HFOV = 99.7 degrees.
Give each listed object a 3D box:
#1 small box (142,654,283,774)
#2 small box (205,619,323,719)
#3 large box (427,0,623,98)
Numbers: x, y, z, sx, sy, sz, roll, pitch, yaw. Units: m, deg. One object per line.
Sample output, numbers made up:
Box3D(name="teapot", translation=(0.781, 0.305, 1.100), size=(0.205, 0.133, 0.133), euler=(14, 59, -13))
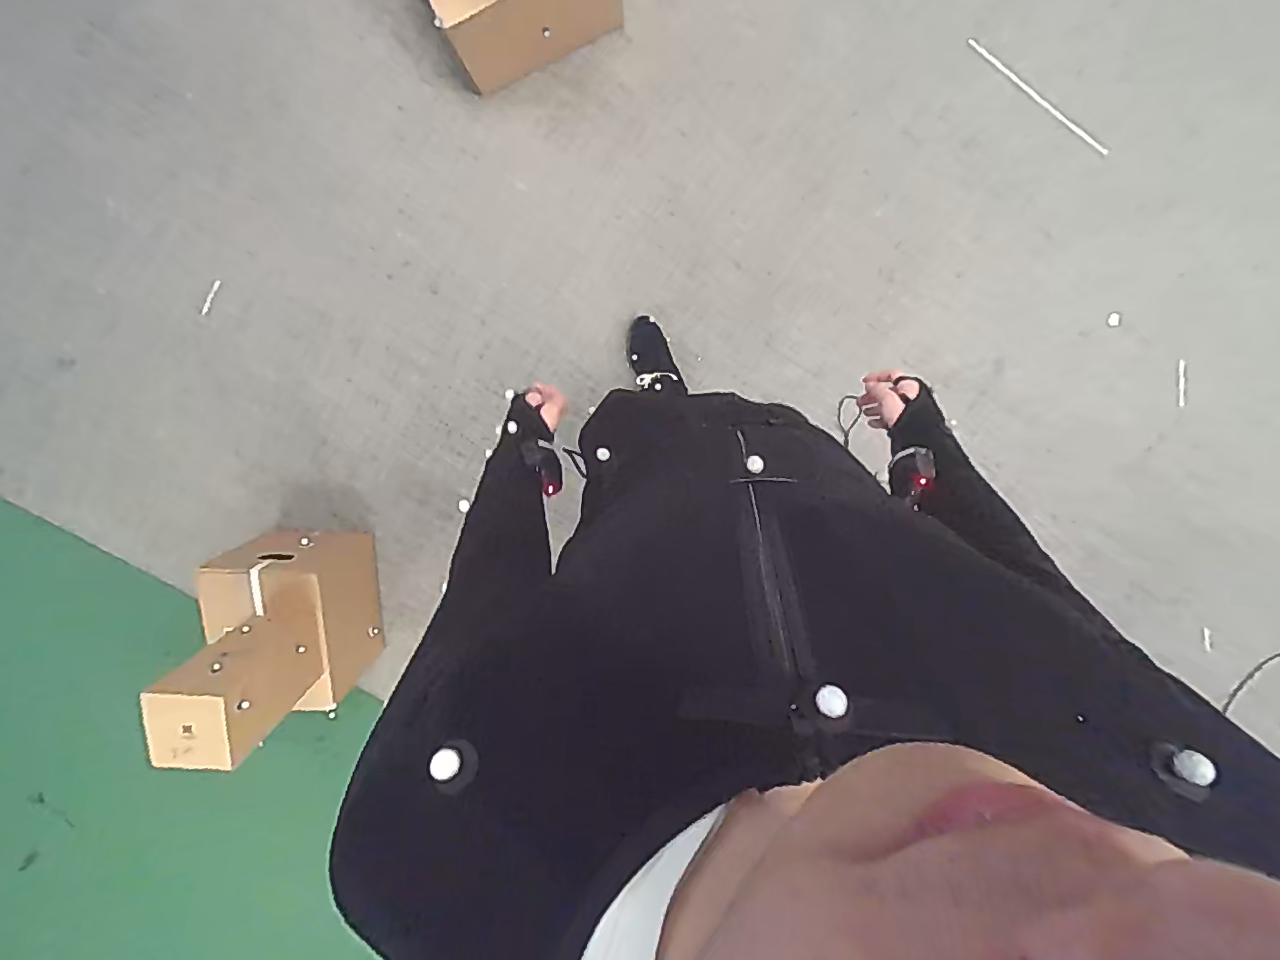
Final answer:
Box3D(name="small box", translation=(-0.904, 0.494, 1.160), size=(0.168, 0.176, 0.179), euler=(4, 104, -1))
Box3D(name="small box", translation=(-0.907, 0.454, 1.319), size=(0.168, 0.176, 0.179), euler=(1, 104, -1))
Box3D(name="large box", translation=(-0.282, -1.154, 1.190), size=(0.408, 0.320, 0.320), euler=(-25, 102, 6))
